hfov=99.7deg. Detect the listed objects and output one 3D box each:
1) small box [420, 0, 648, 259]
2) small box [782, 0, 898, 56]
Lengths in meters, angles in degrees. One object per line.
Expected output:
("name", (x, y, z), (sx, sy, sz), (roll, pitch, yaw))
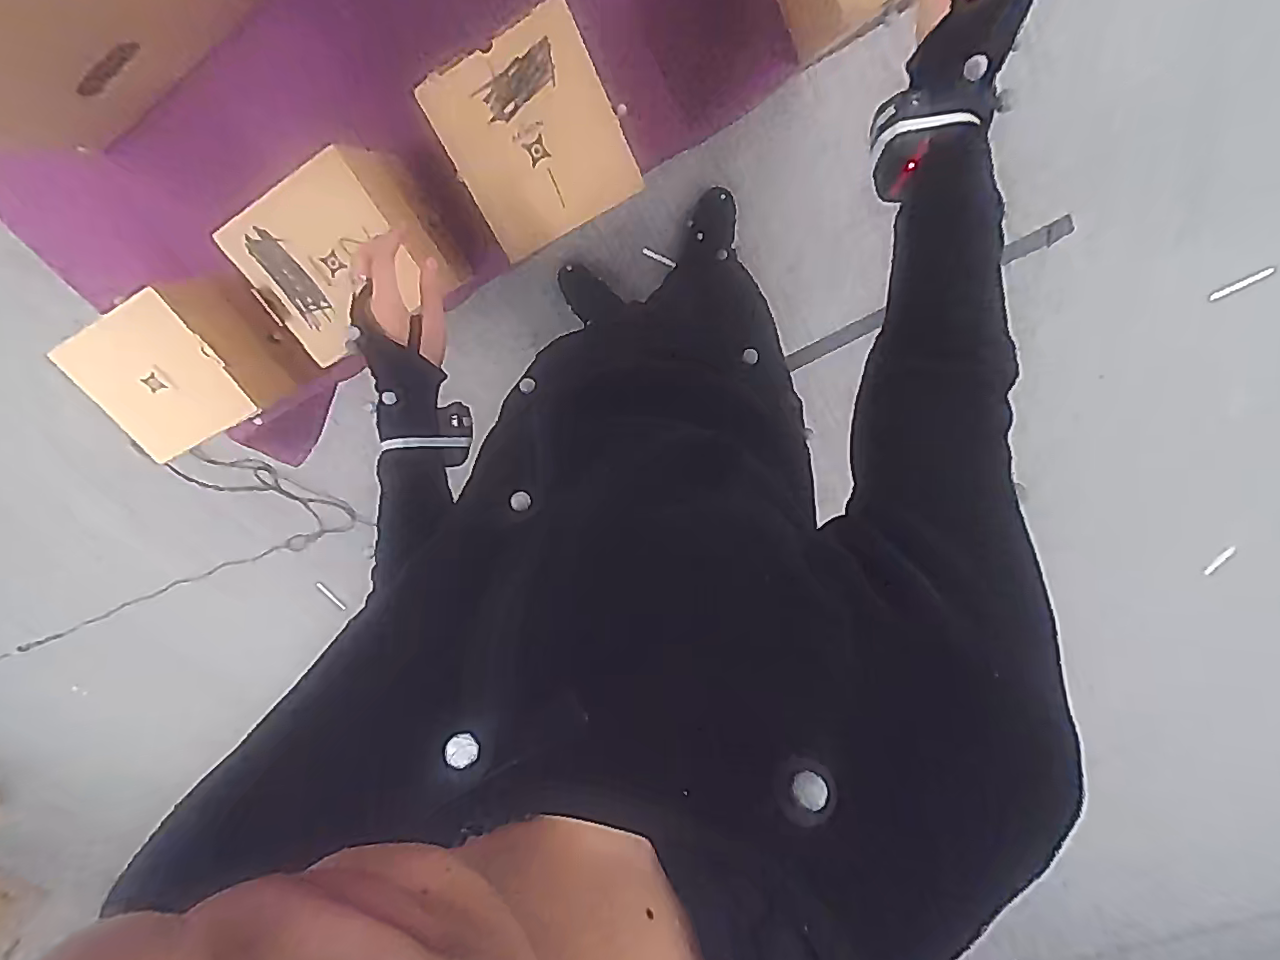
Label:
("small box", (-0.102, -0.374, 0.602), (0.168, 0.176, 0.179), (-24, 117, 12))
("small box", (0.214, -0.550, 0.505), (0.168, 0.176, 0.179), (-28, 115, 15))
